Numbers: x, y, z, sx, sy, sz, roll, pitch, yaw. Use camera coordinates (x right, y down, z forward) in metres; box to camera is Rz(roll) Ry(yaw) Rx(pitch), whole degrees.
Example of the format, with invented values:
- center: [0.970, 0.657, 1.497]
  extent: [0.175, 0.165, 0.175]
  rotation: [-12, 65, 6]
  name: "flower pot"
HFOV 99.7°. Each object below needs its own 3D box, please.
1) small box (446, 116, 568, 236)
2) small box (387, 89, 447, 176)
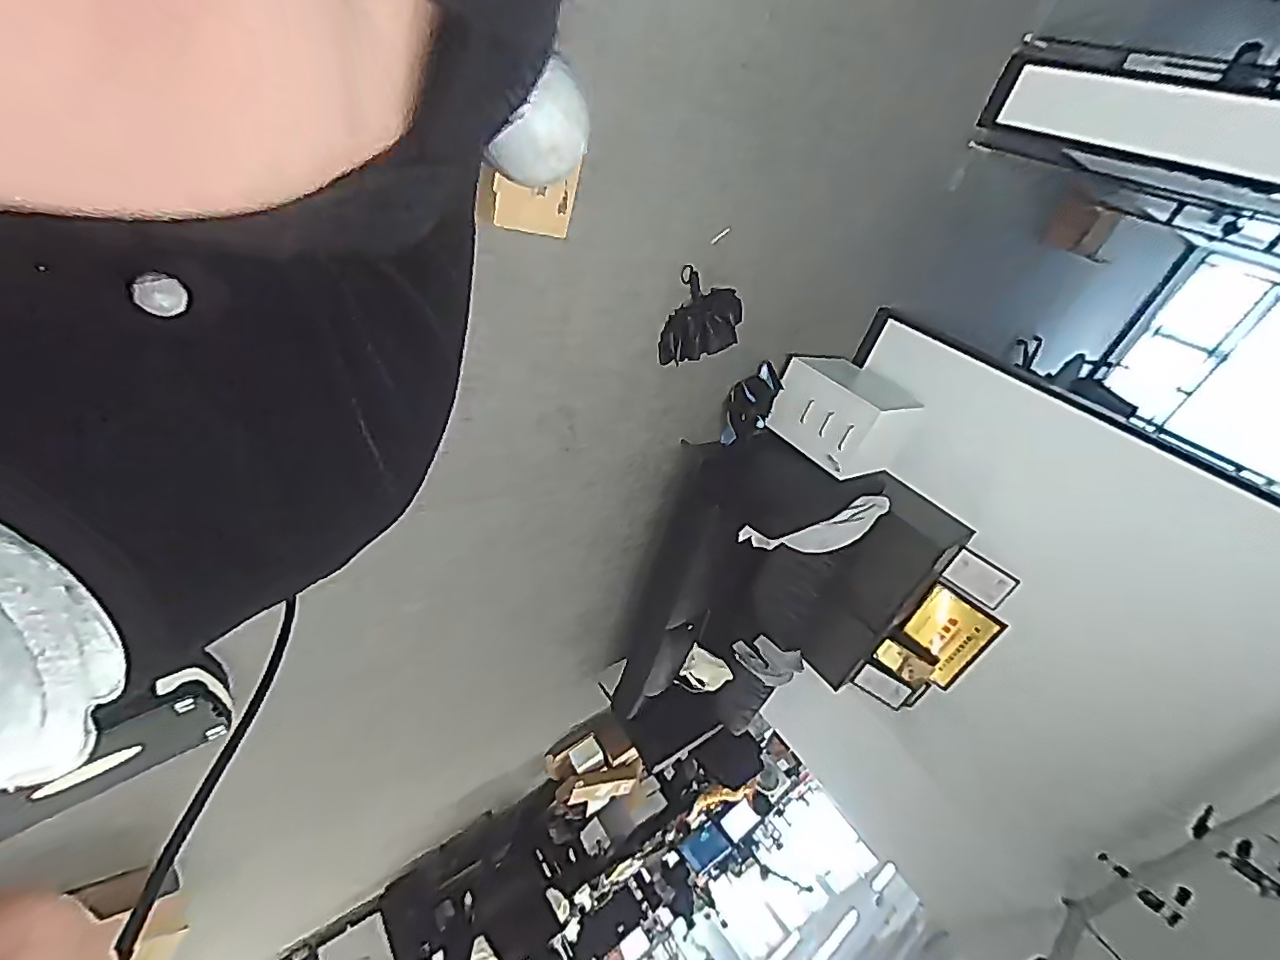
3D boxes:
- center: [-0.281, -0.627, 1.116]
  extent: [0.179, 0.176, 0.168]
  rotation: [-10, 132, -42]
  name: "small box"
- center: [-0.480, -0.809, 1.303]
  extent: [0.179, 0.176, 0.168]
  rotation: [-1, 126, -46]
  name: "small box"
